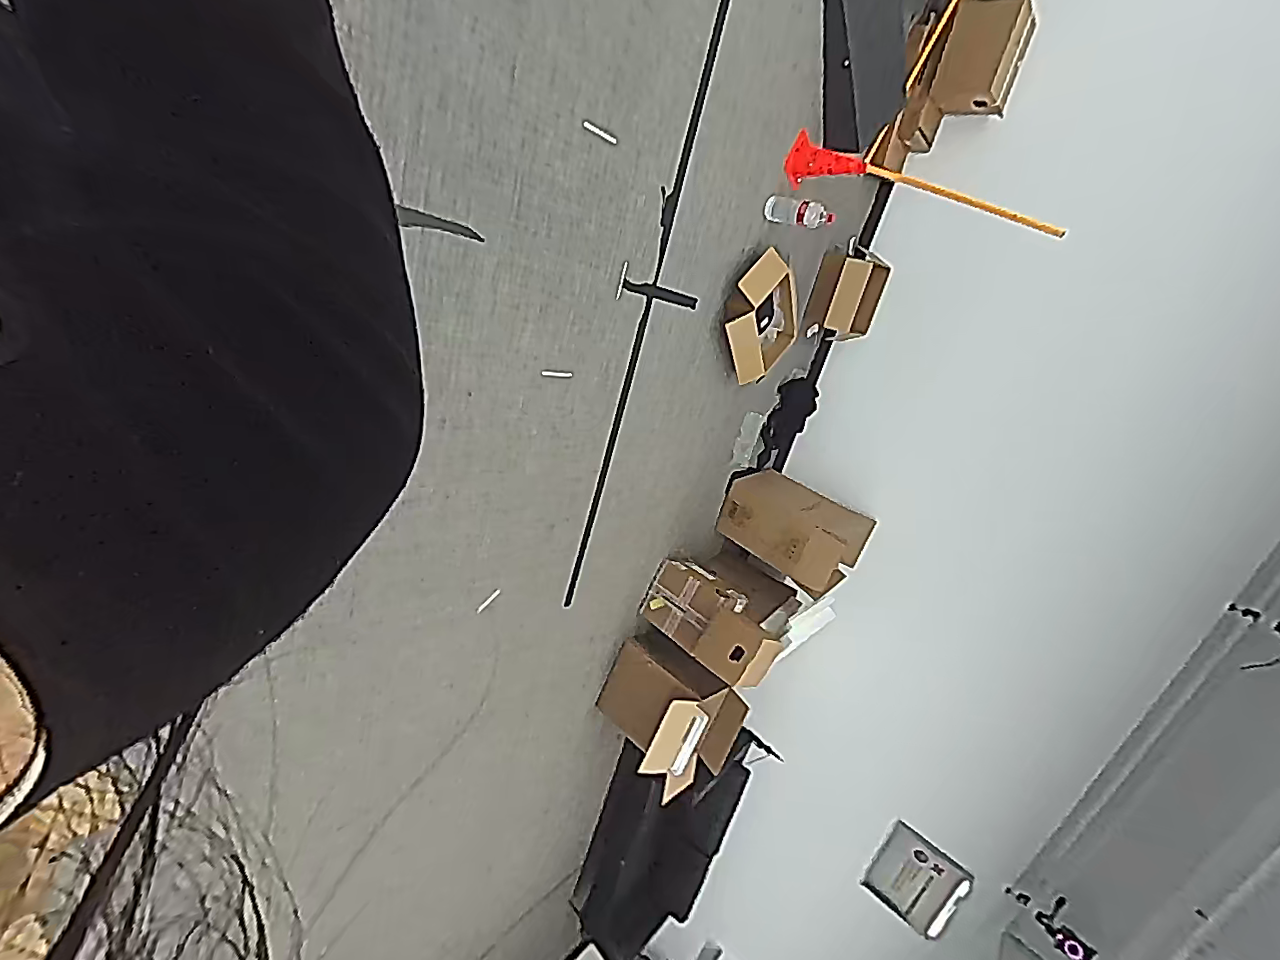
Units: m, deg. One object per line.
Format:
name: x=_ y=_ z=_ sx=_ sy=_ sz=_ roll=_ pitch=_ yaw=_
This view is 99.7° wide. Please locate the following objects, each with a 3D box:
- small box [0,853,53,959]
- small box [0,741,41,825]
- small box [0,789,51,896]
small box: x=-1.227 y=0.849 z=0.999 sx=0.168 sy=0.176 sz=0.179 roll=-16 pitch=126 yaw=-47
small box: x=-1.460 y=0.708 z=1.184 sx=0.168 sy=0.176 sz=0.179 roll=-14 pitch=126 yaw=-48
small box: x=-1.341 y=0.780 z=1.097 sx=0.168 sy=0.176 sz=0.179 roll=-16 pitch=128 yaw=-47
